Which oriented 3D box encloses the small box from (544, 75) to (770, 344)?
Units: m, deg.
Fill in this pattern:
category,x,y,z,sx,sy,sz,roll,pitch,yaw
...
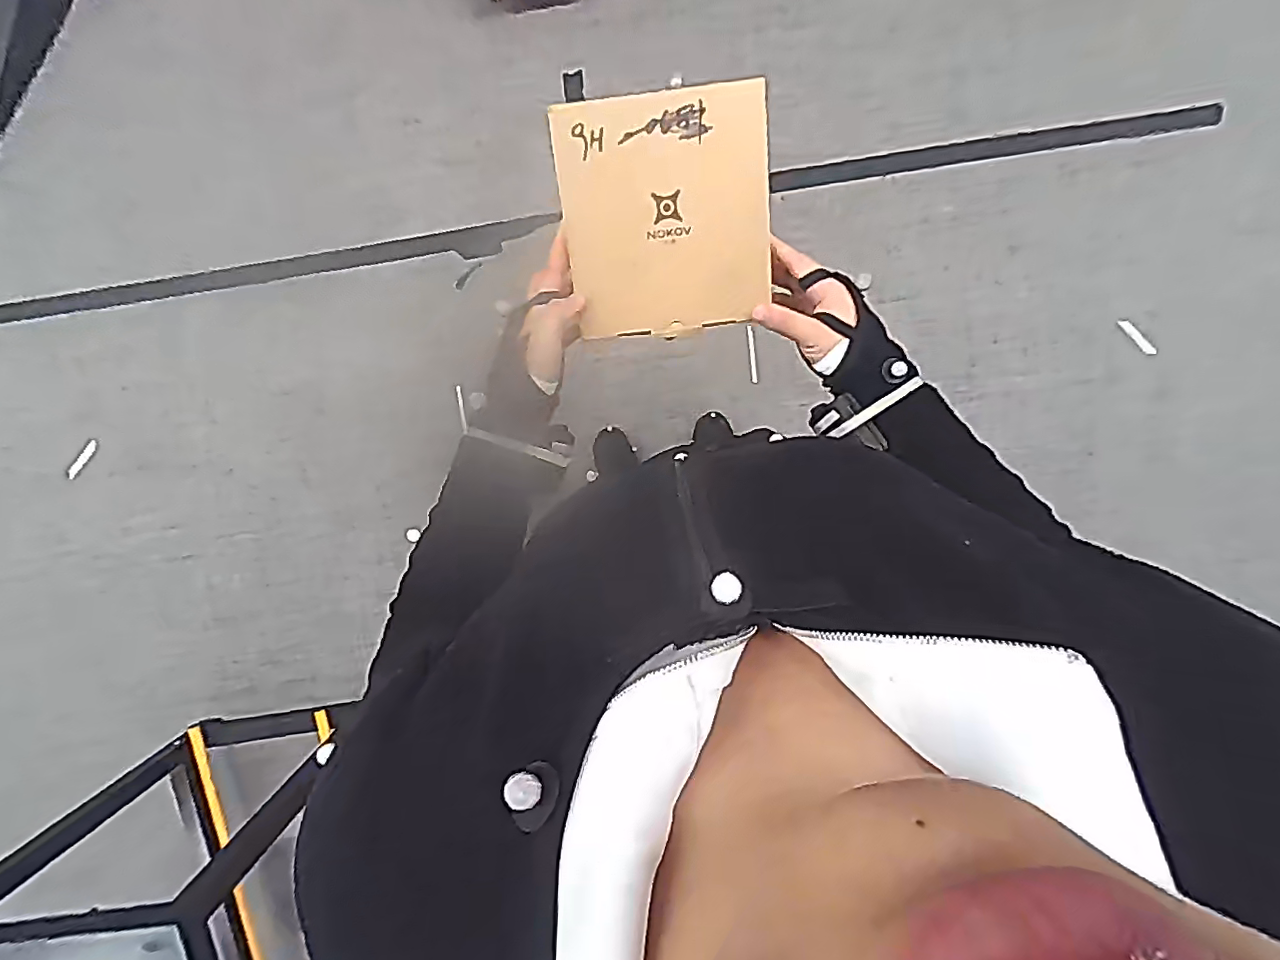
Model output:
category,x,y,z,sx,sy,sz,roll,pitch,yaw
small box,0.019,-0.235,0.498,0.168,0.176,0.179,-7,112,2
